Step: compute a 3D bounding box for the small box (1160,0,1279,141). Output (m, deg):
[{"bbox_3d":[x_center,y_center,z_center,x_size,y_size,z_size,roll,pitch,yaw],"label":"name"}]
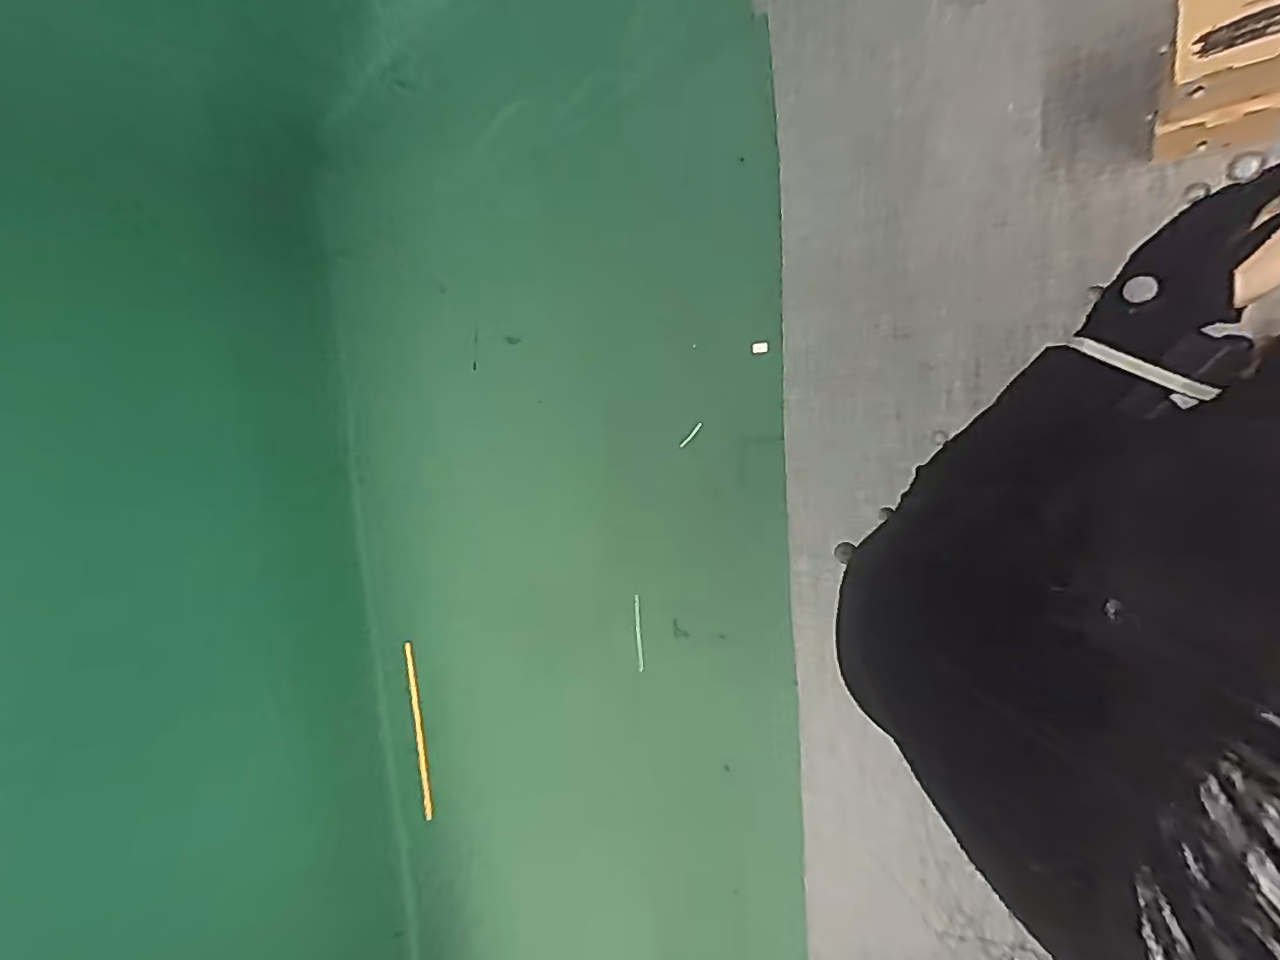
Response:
[{"bbox_3d":[1.013,-0.718,0.921,0.168,0.176,0.179,7,103,40],"label":"small box"}]
